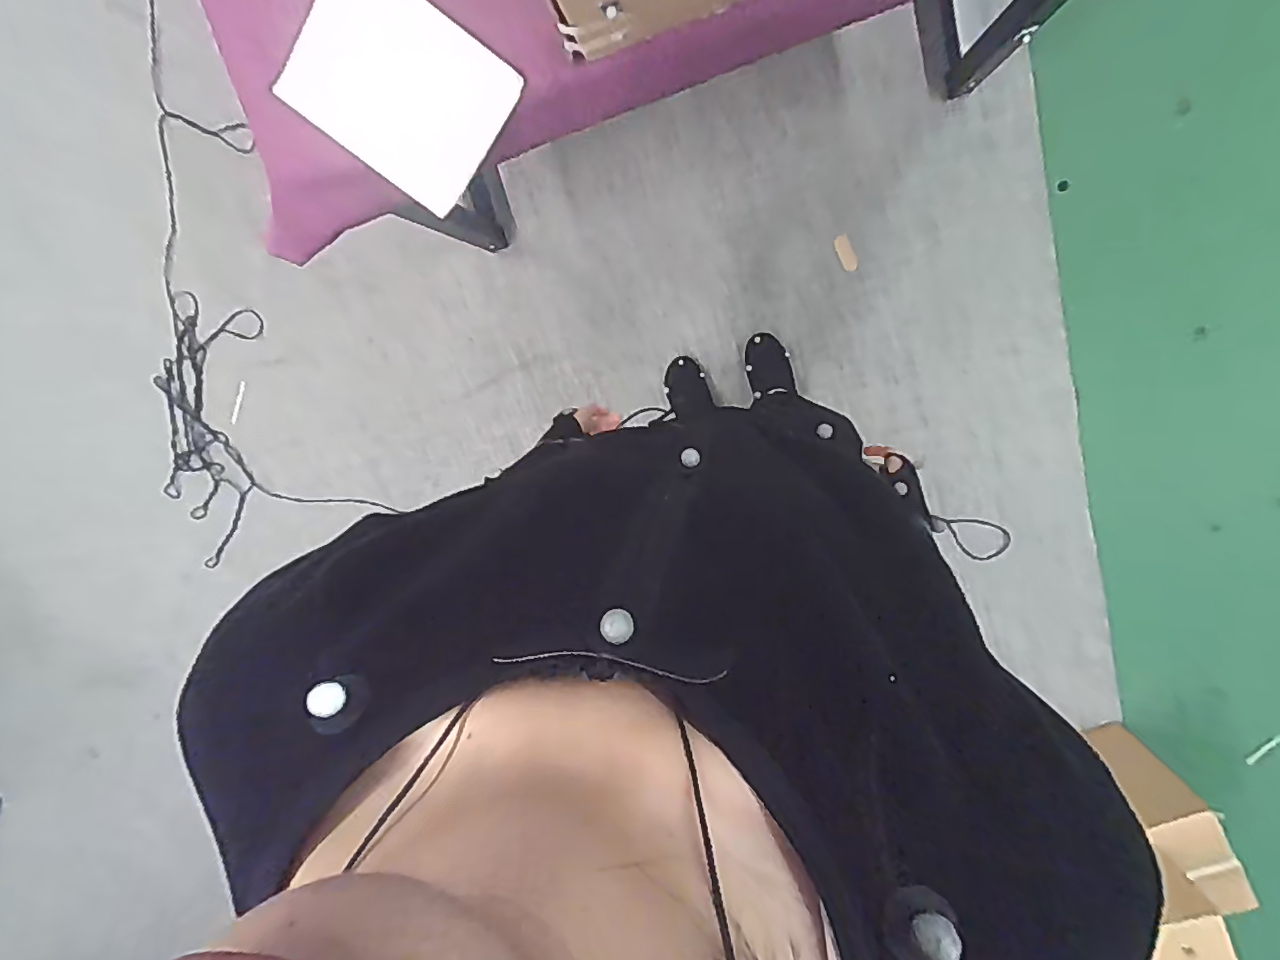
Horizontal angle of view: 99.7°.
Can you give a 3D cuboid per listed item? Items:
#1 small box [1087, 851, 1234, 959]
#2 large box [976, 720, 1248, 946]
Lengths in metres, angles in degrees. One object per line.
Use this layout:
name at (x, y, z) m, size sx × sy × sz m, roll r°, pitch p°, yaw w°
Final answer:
small box at (1.170, 0.982, 1.227) m, size 0.168 × 0.176 × 0.179 m, roll -24°, pitch 100°, yaw 13°
large box at (1.236, 0.936, 1.464) m, size 0.408 × 0.320 × 0.320 m, roll -30°, pitch 100°, yaw 12°
